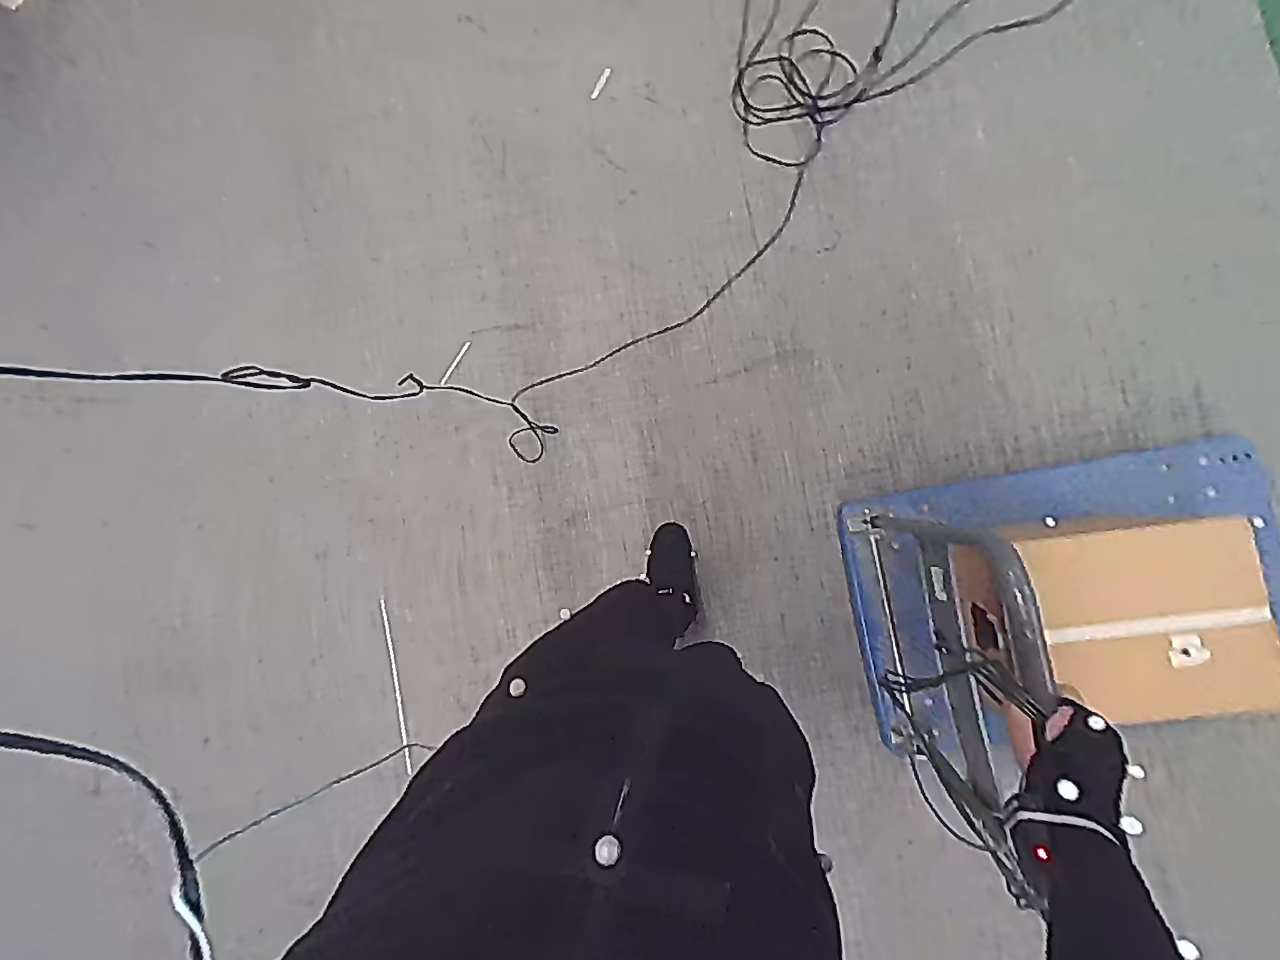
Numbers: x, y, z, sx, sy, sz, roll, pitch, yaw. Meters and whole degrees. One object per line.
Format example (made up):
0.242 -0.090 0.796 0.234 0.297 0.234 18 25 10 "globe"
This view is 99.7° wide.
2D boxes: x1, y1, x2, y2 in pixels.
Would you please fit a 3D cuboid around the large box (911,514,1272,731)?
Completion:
0.809 0.246 1.040 0.408 0.320 0.320 -8 87 5 "large box"
